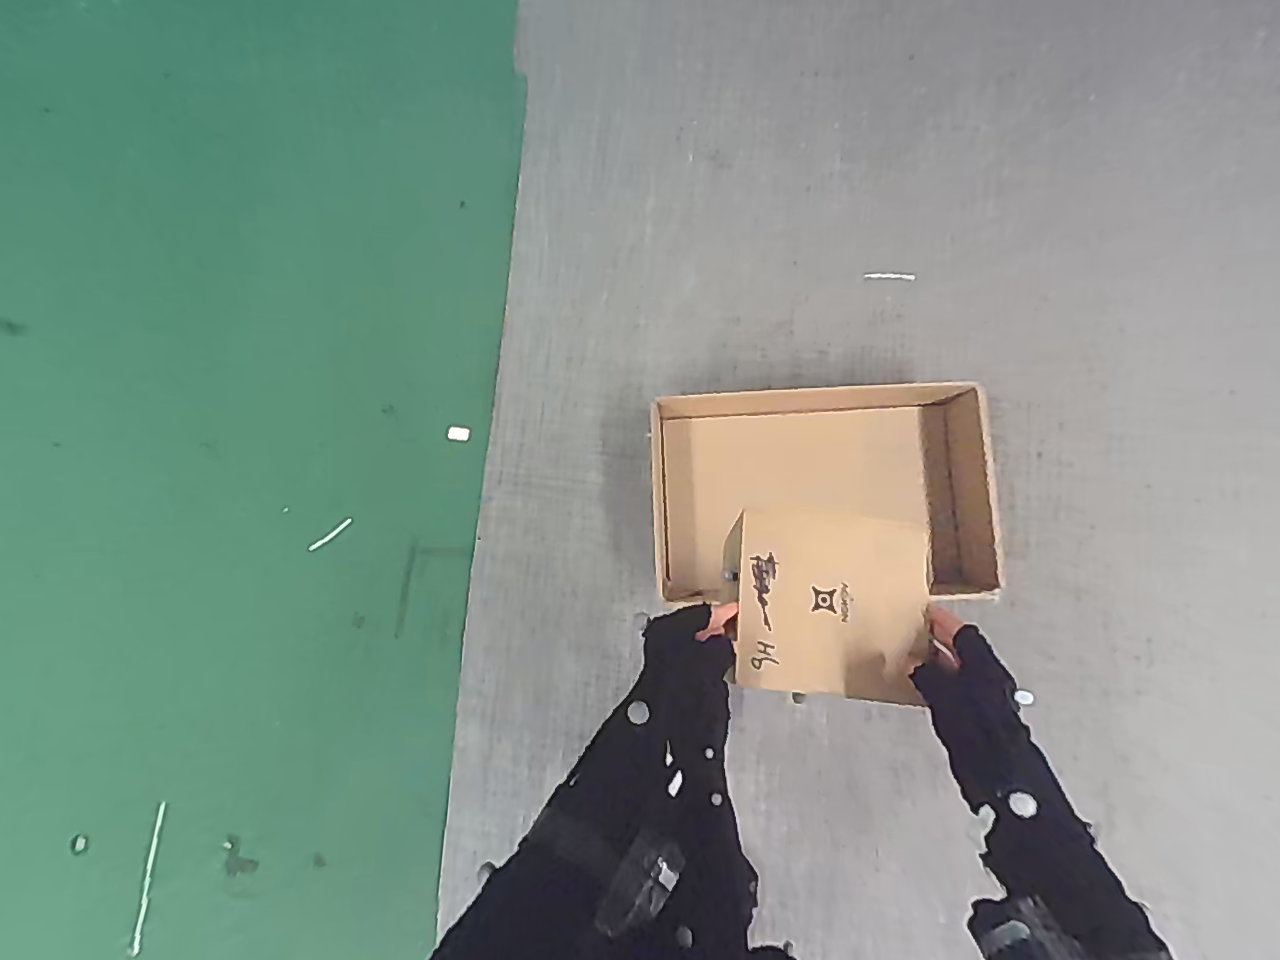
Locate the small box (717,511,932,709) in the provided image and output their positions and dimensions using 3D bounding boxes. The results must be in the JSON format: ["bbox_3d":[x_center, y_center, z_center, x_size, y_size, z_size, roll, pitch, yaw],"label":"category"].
[{"bbox_3d":[0.183,0.138,0.580,0.179,0.176,0.168,5,74,4],"label":"small box"}]
